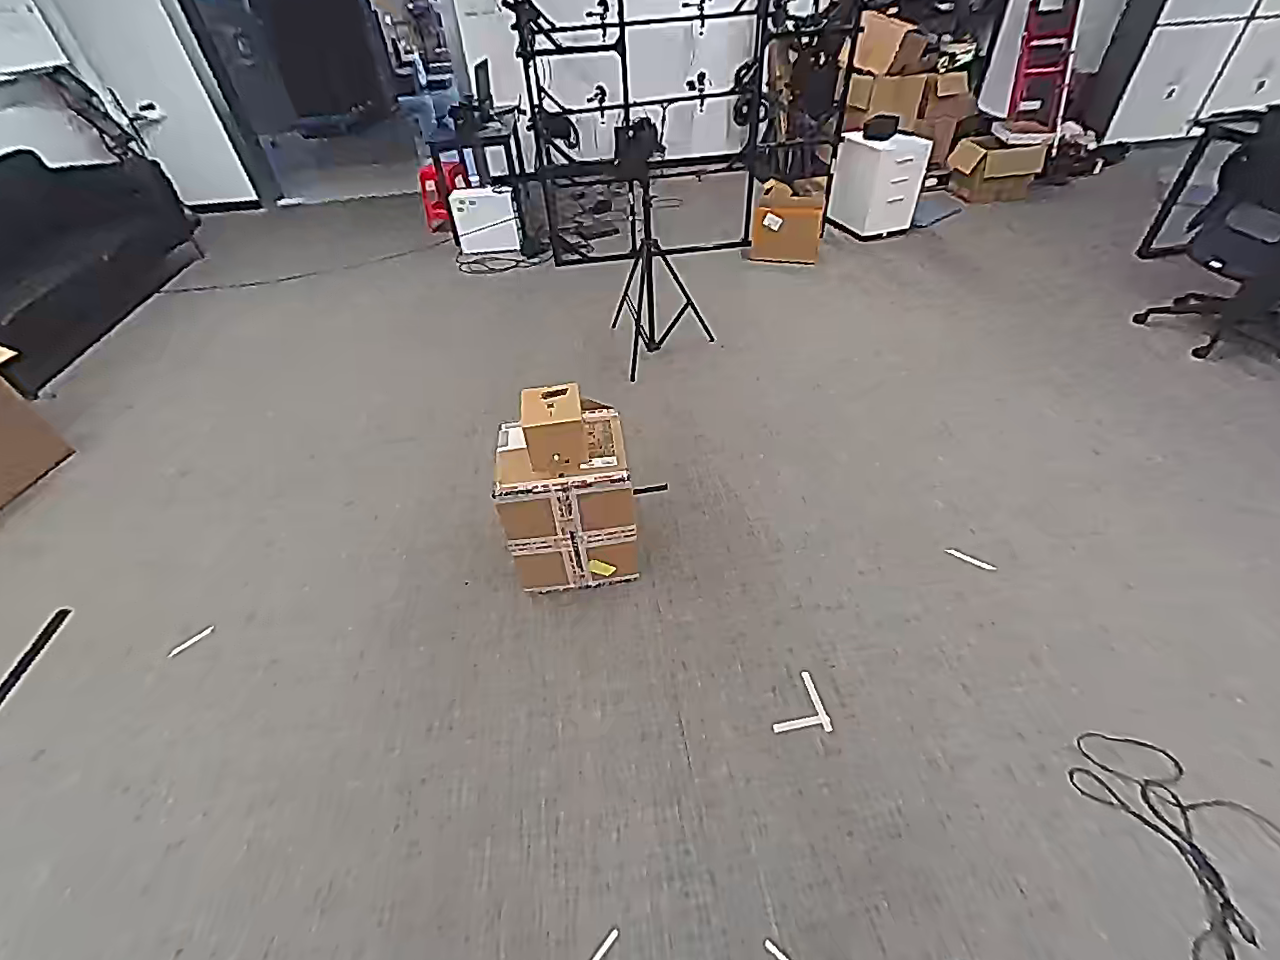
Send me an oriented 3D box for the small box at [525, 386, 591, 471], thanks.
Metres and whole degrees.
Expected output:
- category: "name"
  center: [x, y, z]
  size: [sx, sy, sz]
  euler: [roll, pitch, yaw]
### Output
- category: "small box"
  center: [-0.237, -0.149, 1.572]
  size: [0.168, 0.176, 0.179]
  euler: [-8, 46, -4]
